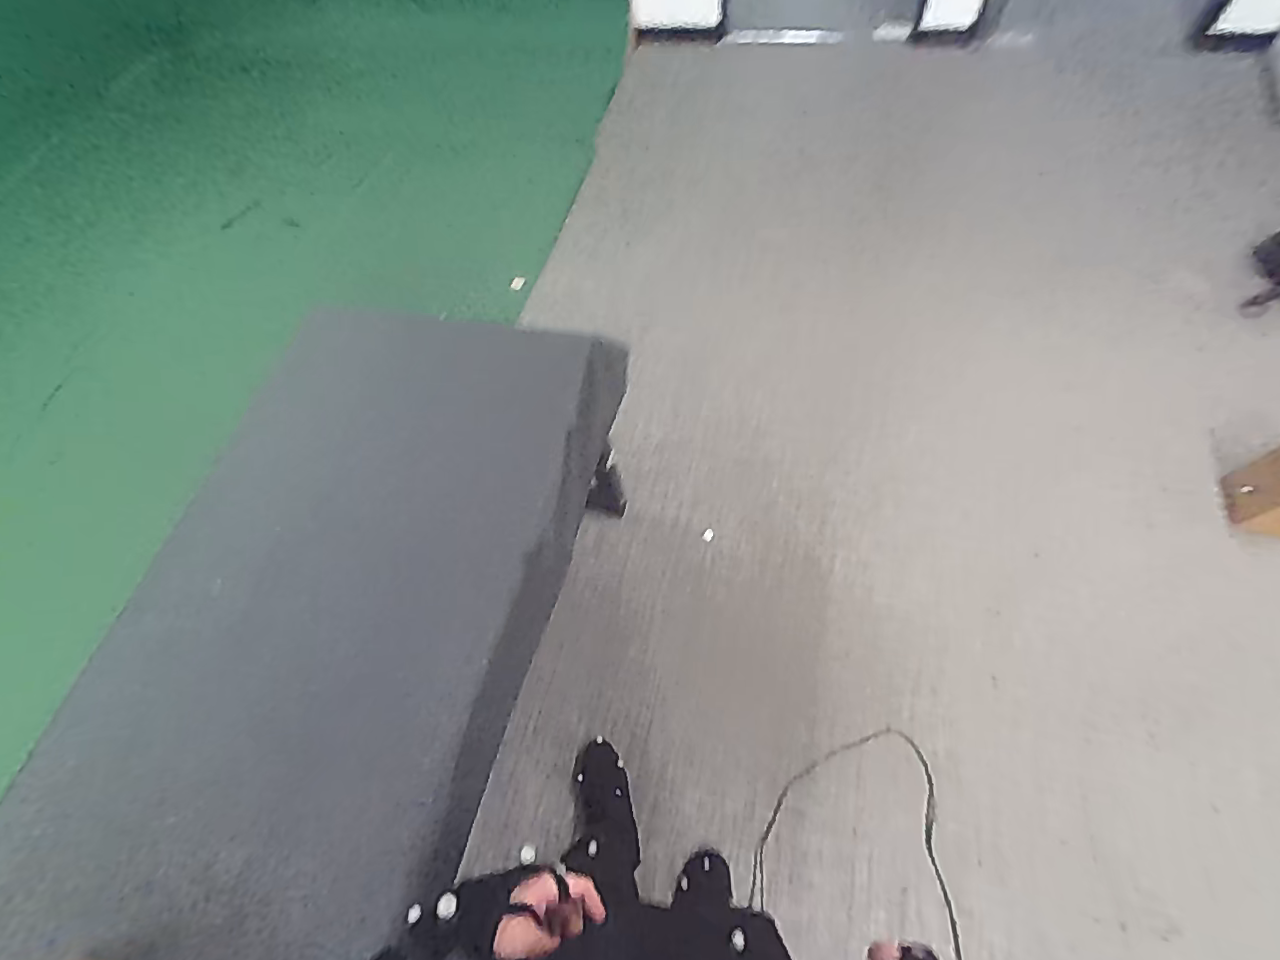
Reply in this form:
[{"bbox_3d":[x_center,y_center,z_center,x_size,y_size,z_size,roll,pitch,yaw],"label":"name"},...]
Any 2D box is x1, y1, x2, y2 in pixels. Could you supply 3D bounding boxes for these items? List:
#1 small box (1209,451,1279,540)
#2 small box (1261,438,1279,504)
[{"bbox_3d":[1.682,0.046,1.440,0.179,0.176,0.168,11,64,12],"label":"small box"},{"bbox_3d":[1.667,-0.030,1.297,0.179,0.176,0.168,12,65,10],"label":"small box"}]
